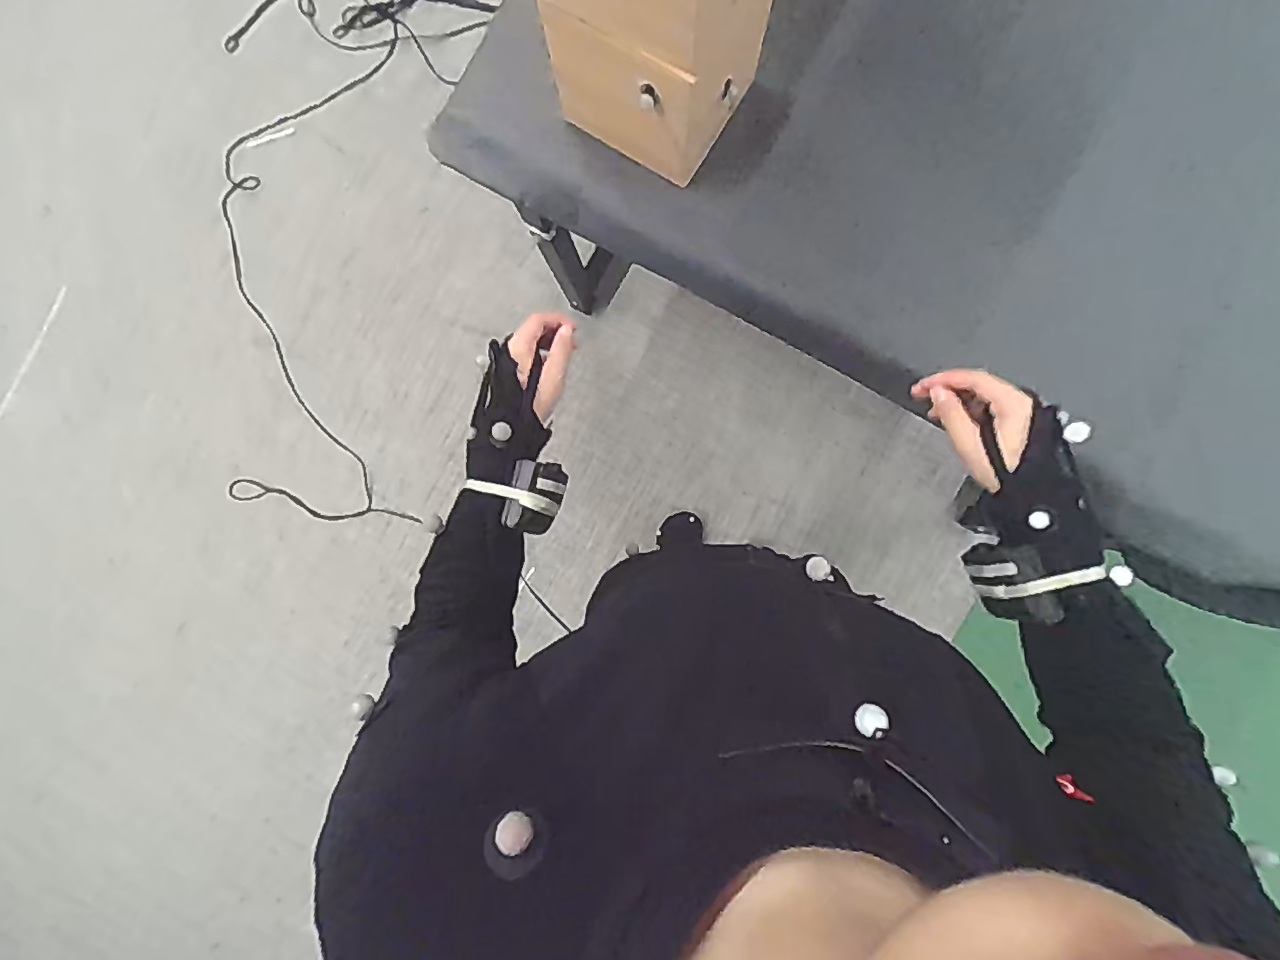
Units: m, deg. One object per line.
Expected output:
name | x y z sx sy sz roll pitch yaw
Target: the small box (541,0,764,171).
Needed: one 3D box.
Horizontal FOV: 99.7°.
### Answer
small box | 0.022 -0.475 0.580 0.179 0.176 0.168 32 89 3
